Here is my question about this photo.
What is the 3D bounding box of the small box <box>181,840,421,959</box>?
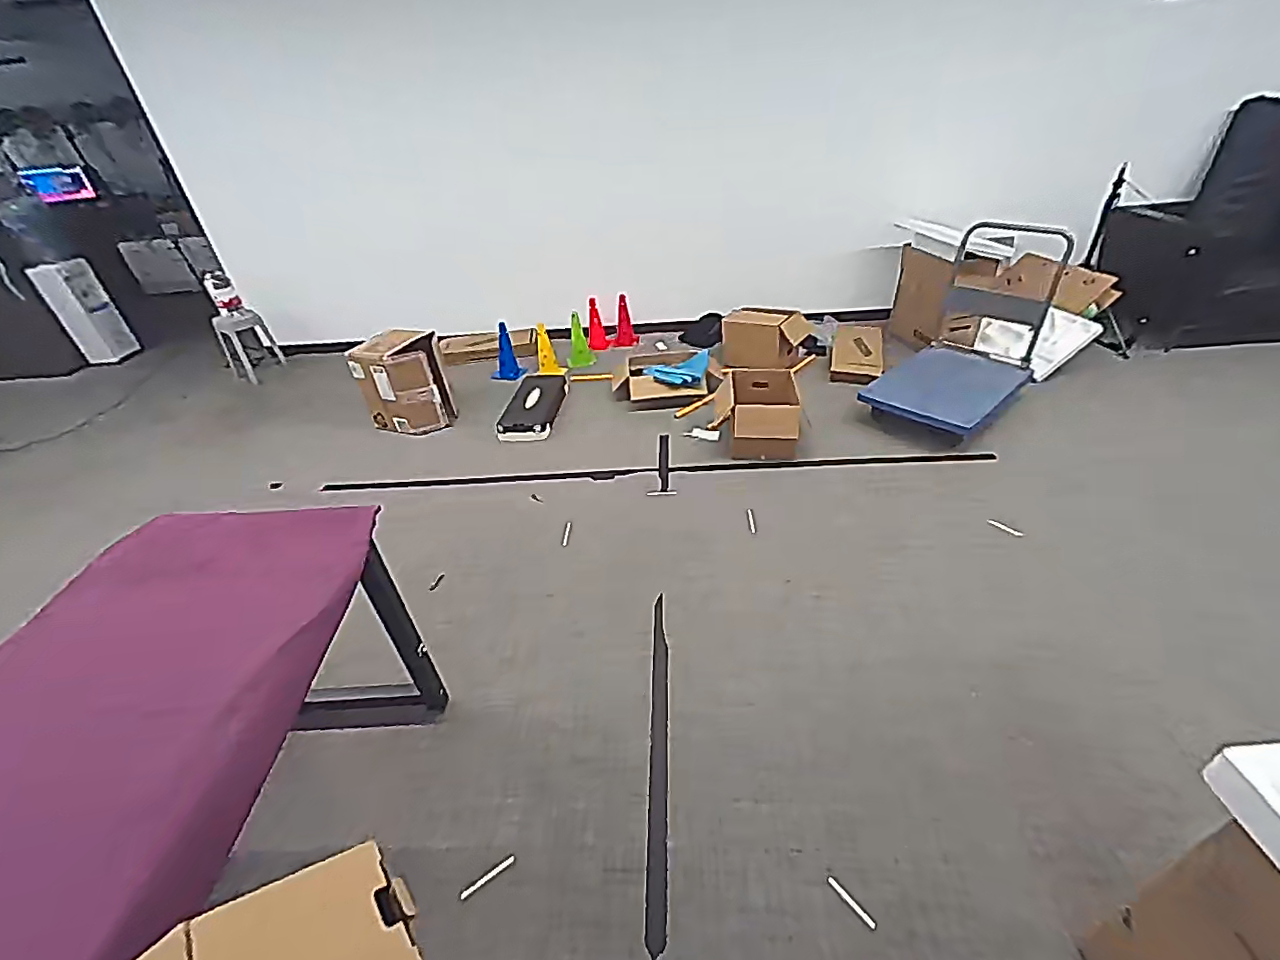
[{"bbox_3d":[-0.346,0.528,0.547,0.179,0.176,0.168,1,24,-45],"label":"small box"}]
